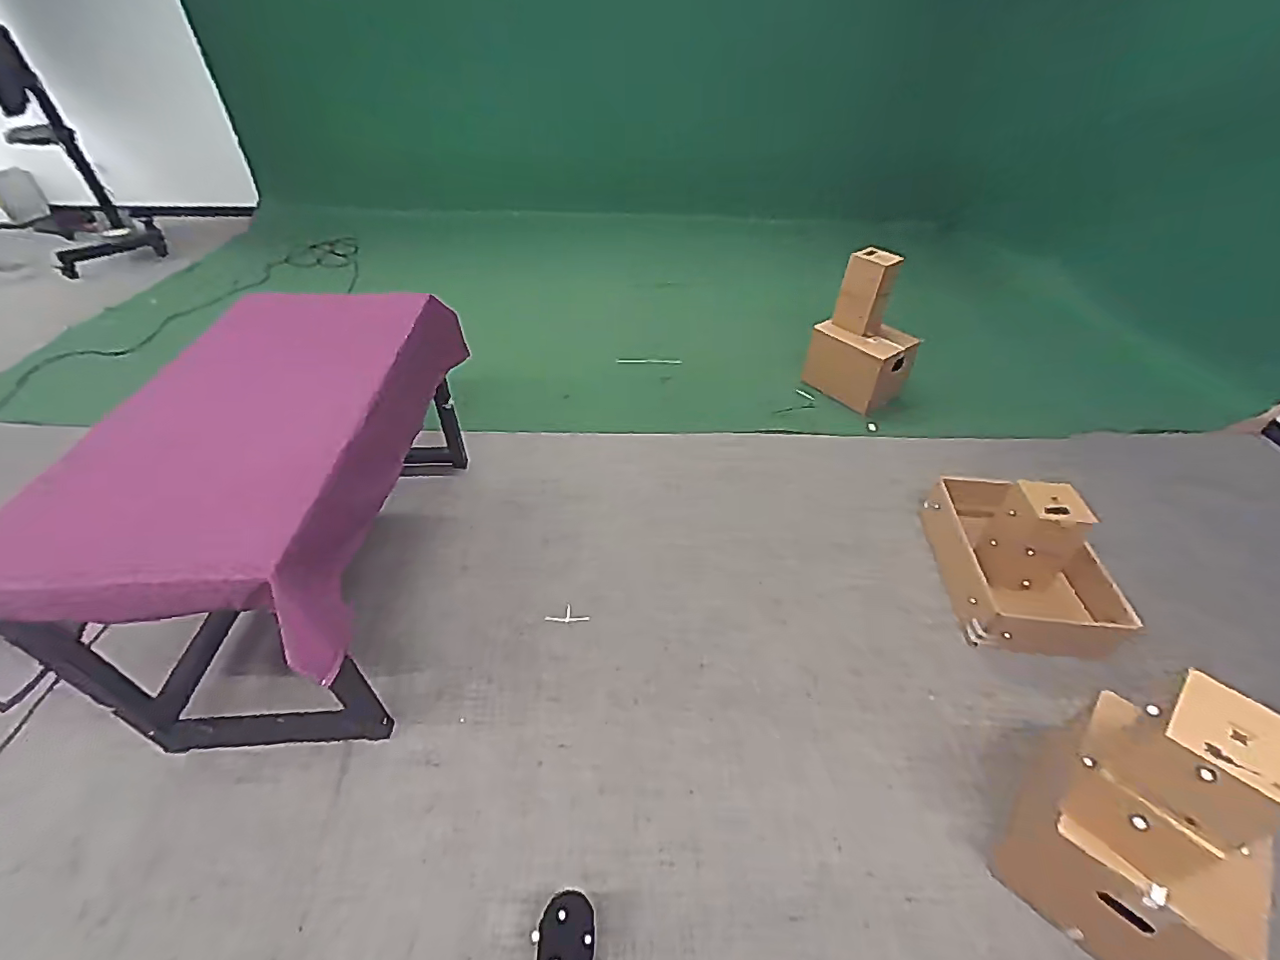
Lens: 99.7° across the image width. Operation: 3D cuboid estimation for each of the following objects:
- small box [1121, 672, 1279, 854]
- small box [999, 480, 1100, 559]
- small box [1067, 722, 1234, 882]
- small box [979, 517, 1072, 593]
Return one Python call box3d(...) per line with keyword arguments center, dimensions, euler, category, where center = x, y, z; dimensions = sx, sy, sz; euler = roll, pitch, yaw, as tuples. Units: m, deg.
box3d(center=(0.957, 0.467, 0.900), dimensions=(0.179, 0.176, 0.168), euler=(-30, 46, -30), category="small box")
box3d(center=(1.257, 0.123, 1.676), dimensions=(0.168, 0.176, 0.179), euler=(5, 41, 5), category="small box")
box3d(center=(0.951, 0.598, 0.999), dimensions=(0.168, 0.176, 0.179), euler=(-27, 45, -27), category="small box")
box3d(center=(1.259, 0.248, 1.783), dimensions=(0.168, 0.176, 0.179), euler=(4, 42, 5), category="small box")
